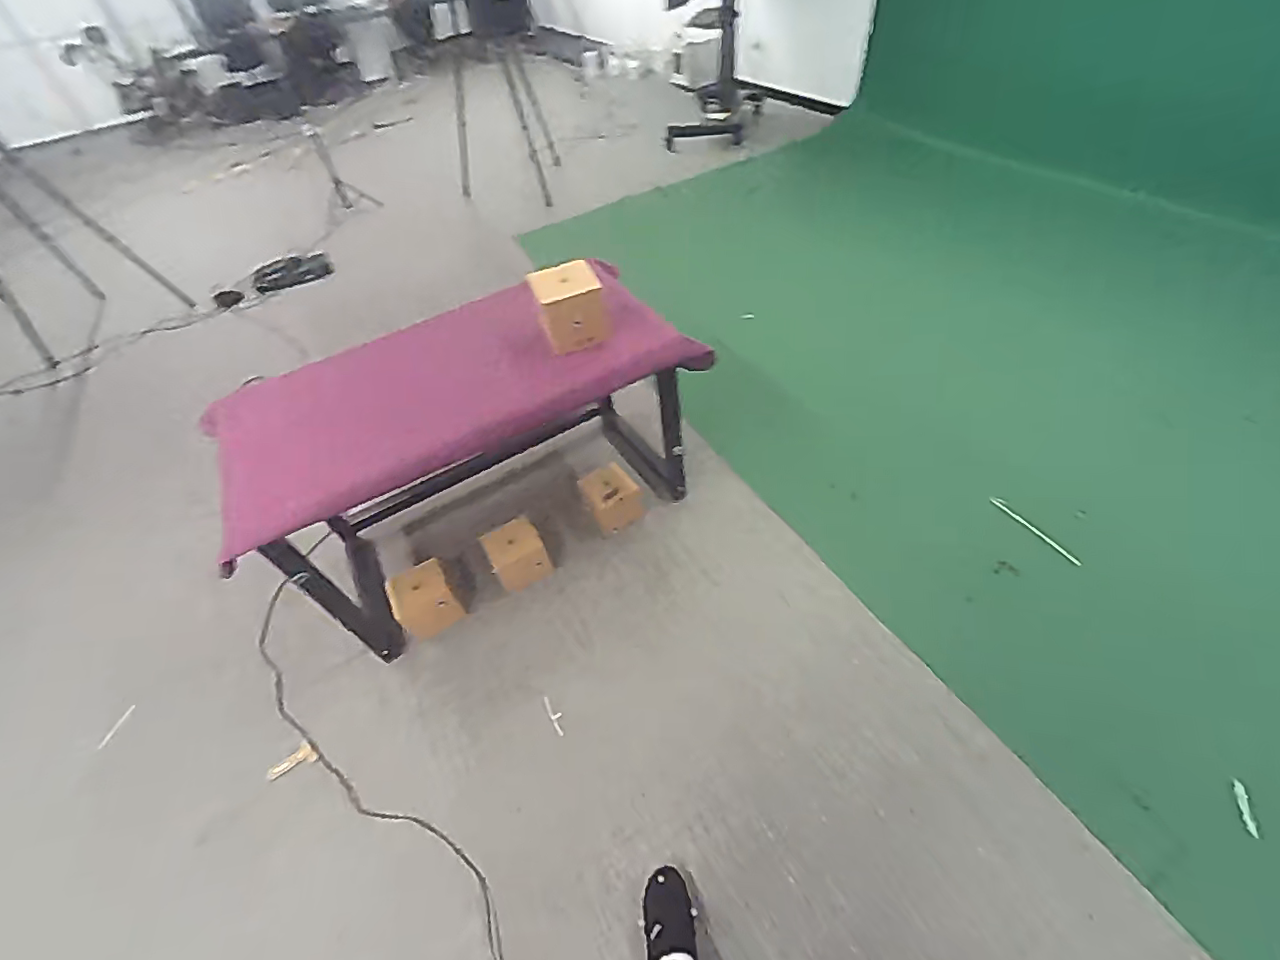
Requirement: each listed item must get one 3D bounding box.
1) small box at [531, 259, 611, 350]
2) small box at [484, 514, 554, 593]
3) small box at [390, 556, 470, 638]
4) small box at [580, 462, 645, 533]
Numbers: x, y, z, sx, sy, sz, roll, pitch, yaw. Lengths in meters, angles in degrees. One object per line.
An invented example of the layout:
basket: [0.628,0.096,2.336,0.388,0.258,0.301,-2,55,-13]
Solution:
small box: [-0.189,-0.485,1.516,0.168,0.176,0.179,-20,50,-8]
small box: [-0.412,0.257,1.876,0.179,0.176,0.168,-27,50,-14]
small box: [-0.698,0.394,1.802,0.179,0.176,0.168,-28,51,-15]
small box: [-0.095,0.071,1.986,0.168,0.176,0.179,-29,50,-17]
